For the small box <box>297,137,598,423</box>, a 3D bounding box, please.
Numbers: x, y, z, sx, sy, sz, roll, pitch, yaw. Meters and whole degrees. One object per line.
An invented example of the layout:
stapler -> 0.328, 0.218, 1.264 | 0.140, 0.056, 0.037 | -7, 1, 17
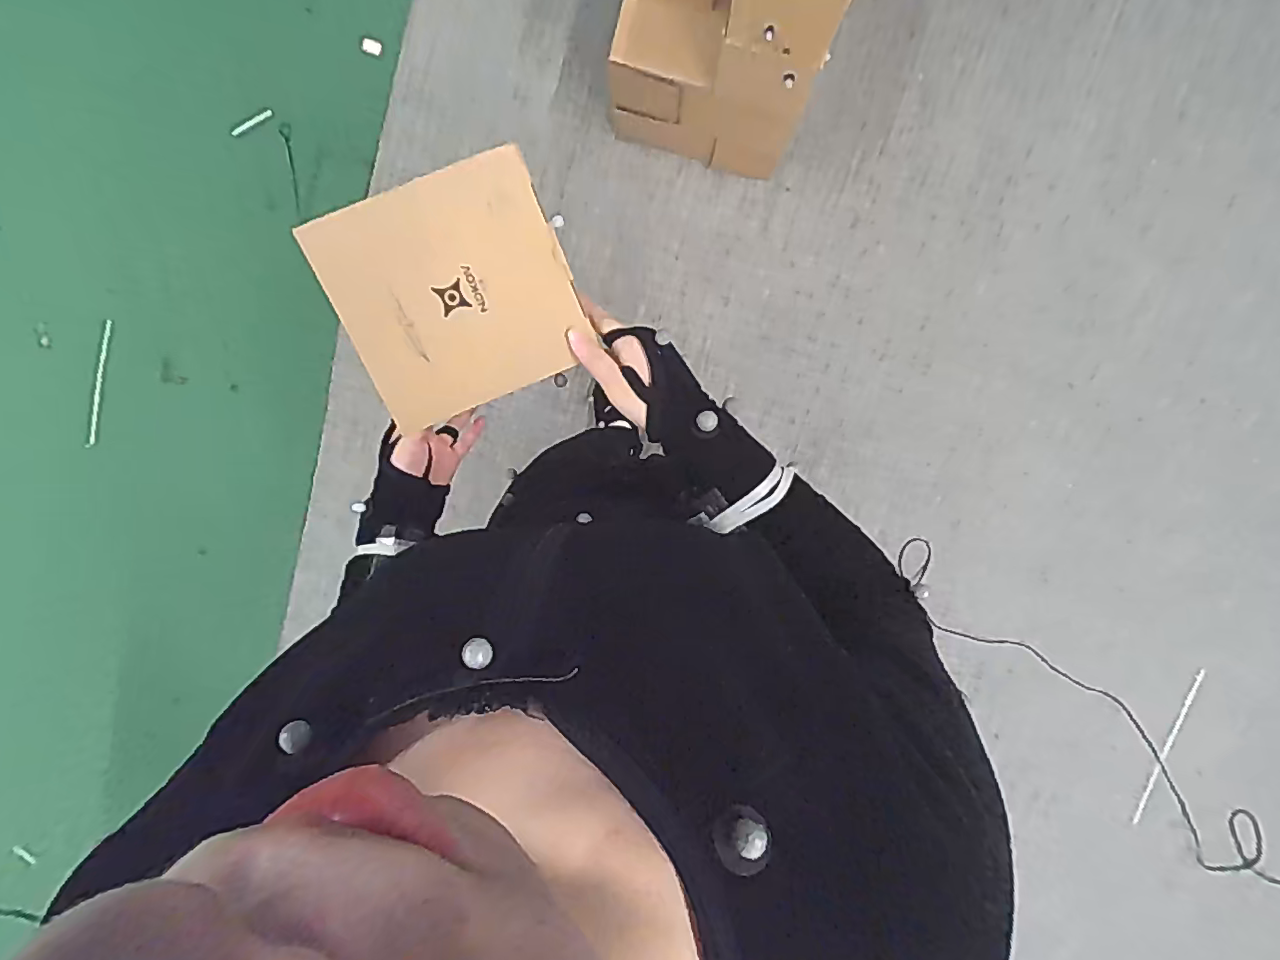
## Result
small box -> -0.151, -0.167, 0.488 | 0.179, 0.176, 0.168 | -22, 105, -1

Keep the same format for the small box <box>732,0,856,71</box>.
small box -> 0.247, -0.772, 0.808 | 0.168, 0.176, 0.179 | 18, 99, 0

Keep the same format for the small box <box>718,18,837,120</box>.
small box -> 0.253, -0.789, 0.970 | 0.179, 0.176, 0.168 | 18, 97, 0
